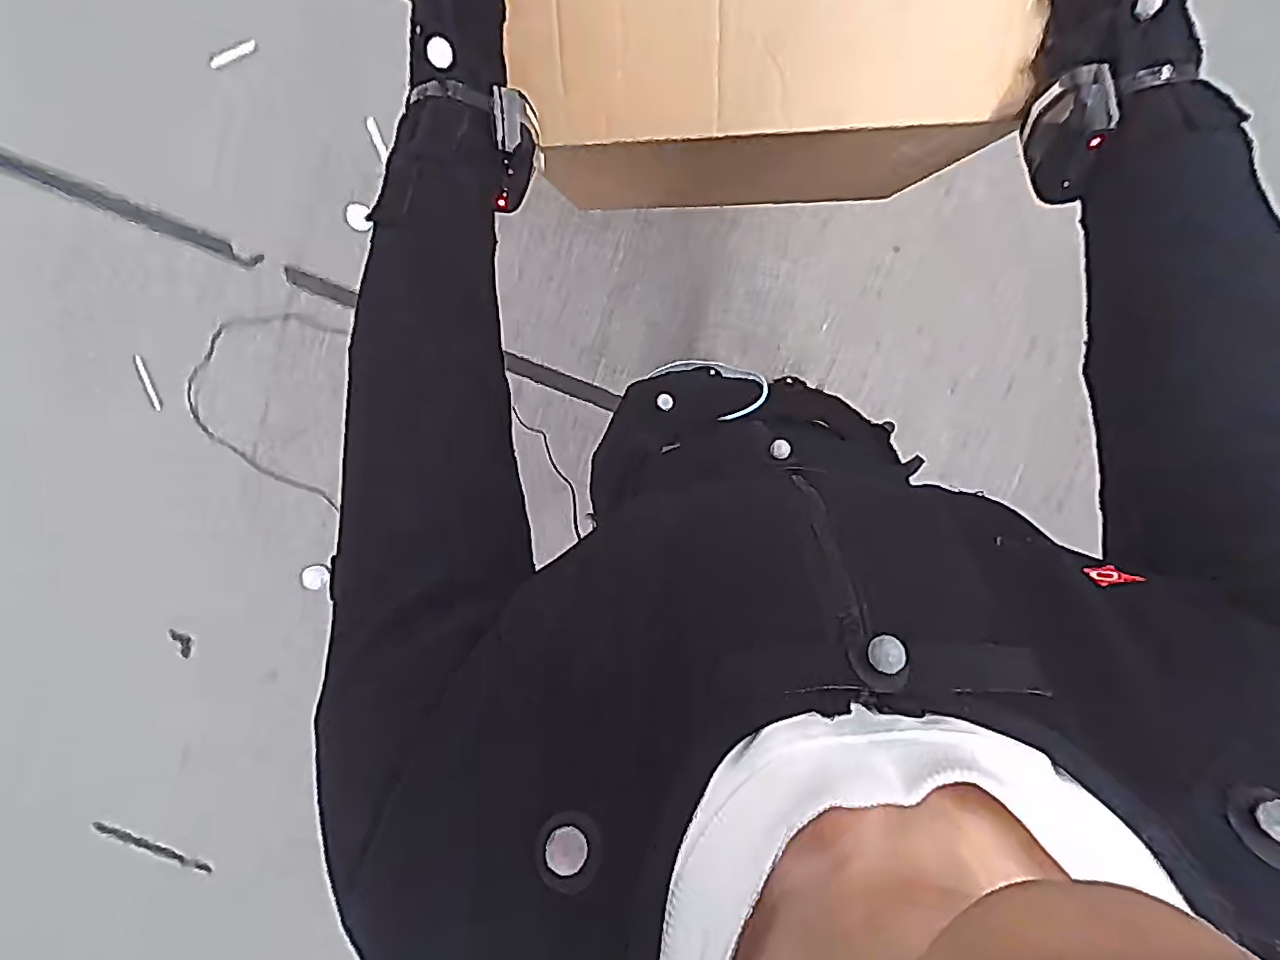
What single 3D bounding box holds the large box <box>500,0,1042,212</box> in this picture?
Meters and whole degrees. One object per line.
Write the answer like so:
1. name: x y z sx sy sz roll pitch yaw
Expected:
1. large box: 0.093 -0.465 0.518 0.408 0.320 0.320 -2 108 4
